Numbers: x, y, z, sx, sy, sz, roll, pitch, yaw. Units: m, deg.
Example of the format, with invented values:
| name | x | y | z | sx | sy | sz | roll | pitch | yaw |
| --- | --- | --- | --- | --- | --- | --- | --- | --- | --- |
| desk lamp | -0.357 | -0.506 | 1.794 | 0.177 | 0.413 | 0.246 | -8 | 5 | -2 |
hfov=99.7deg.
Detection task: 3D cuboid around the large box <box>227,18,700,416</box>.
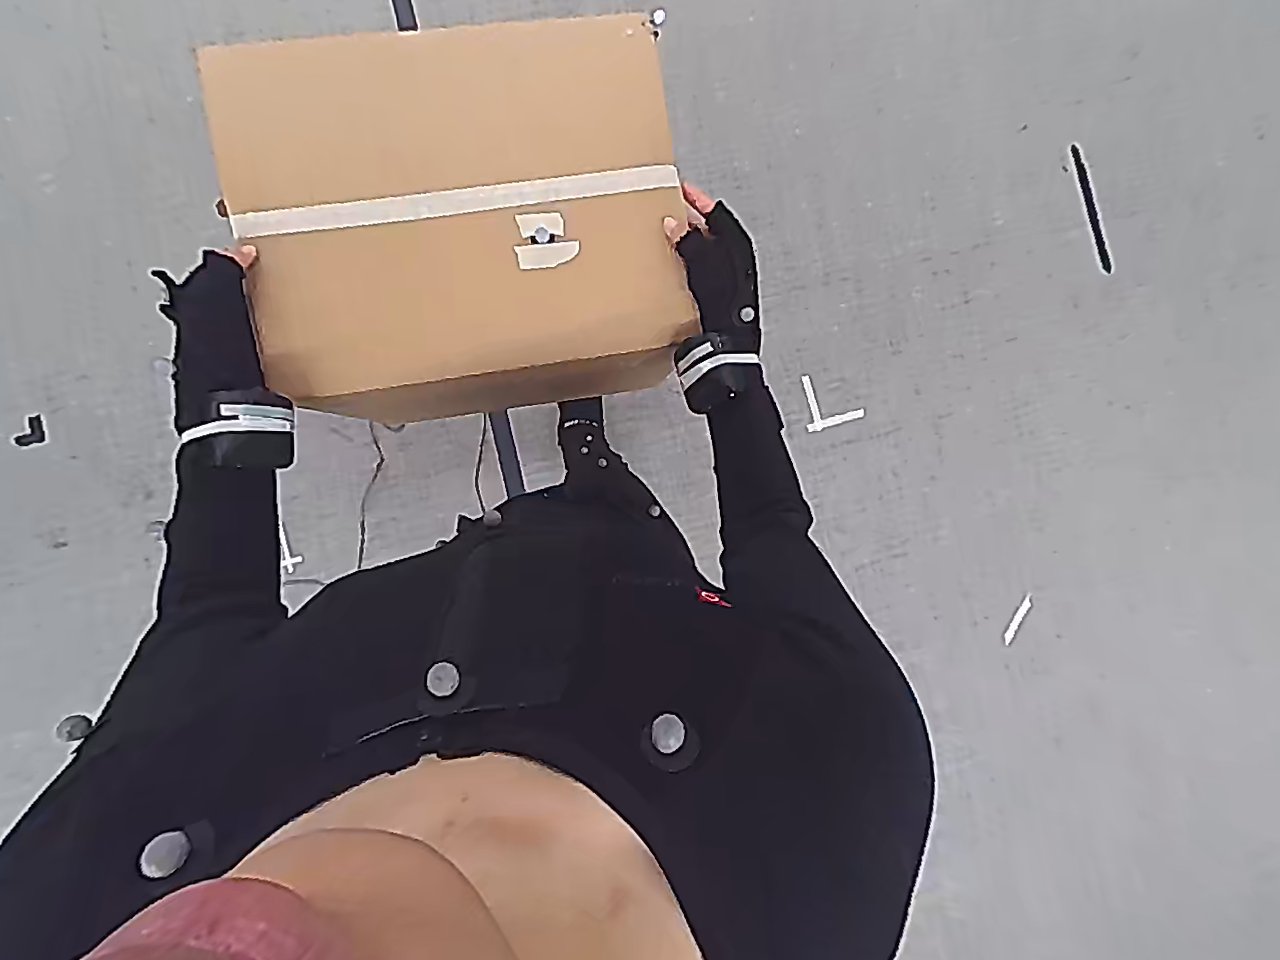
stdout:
| name | x | y | z | sx | sy | sz | roll | pitch | yaw |
| --- | --- | --- | --- | --- | --- | --- | --- | --- | --- |
| large box | -0.176 | -0.273 | 0.665 | 0.408 | 0.320 | 0.320 | -10 | 94 | -6 |
